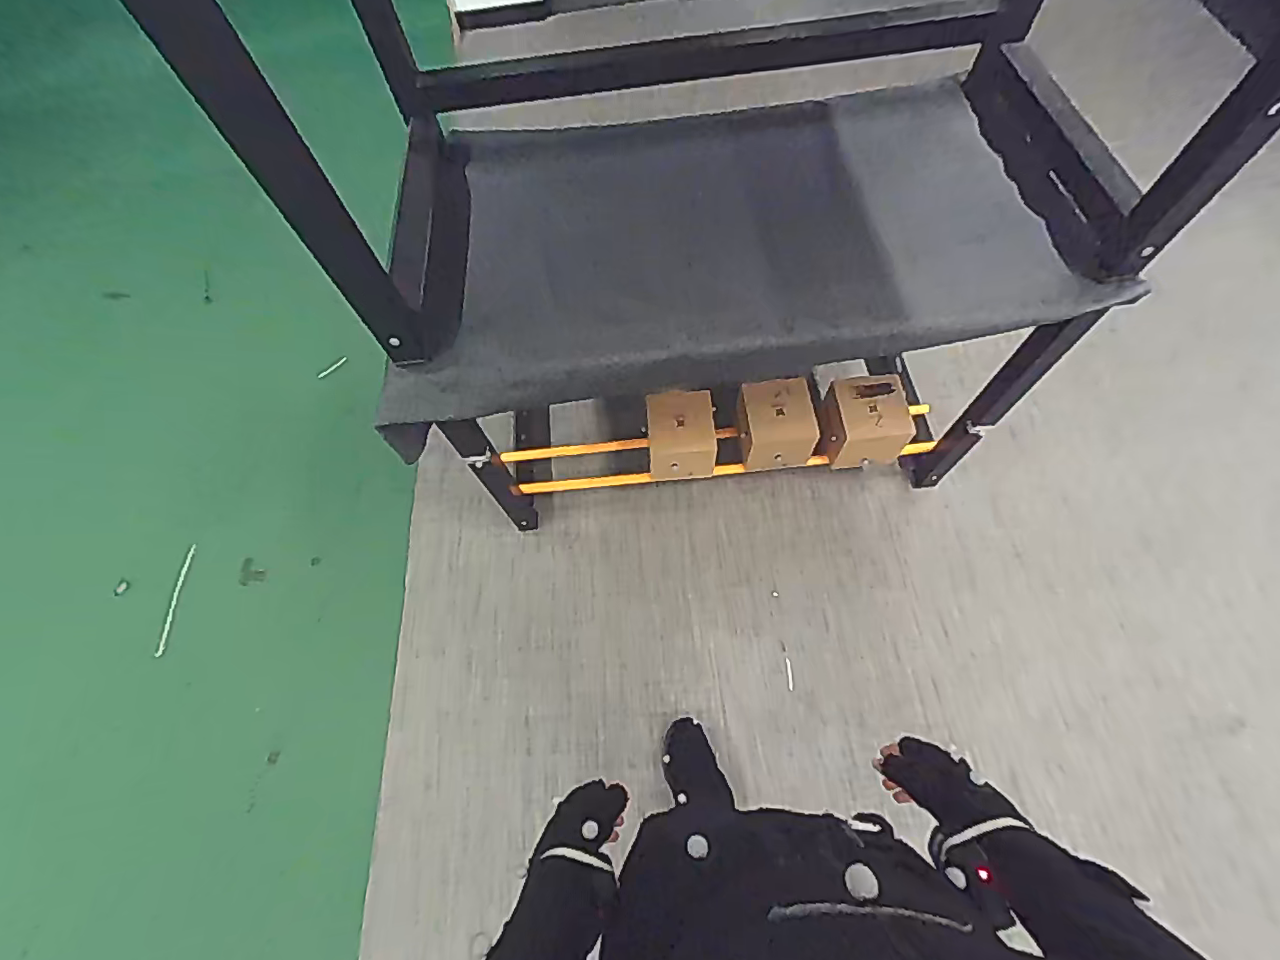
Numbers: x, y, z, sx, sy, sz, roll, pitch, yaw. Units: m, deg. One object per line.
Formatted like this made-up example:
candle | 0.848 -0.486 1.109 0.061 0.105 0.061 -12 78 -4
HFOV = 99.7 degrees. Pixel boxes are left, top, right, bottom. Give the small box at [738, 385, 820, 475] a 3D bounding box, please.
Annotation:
small box | 0.355 -0.123 1.412 0.168 0.176 0.179 -6 64 1

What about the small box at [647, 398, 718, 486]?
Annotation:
small box | 0.110 -0.092 1.417 0.168 0.176 0.179 -5 64 1
